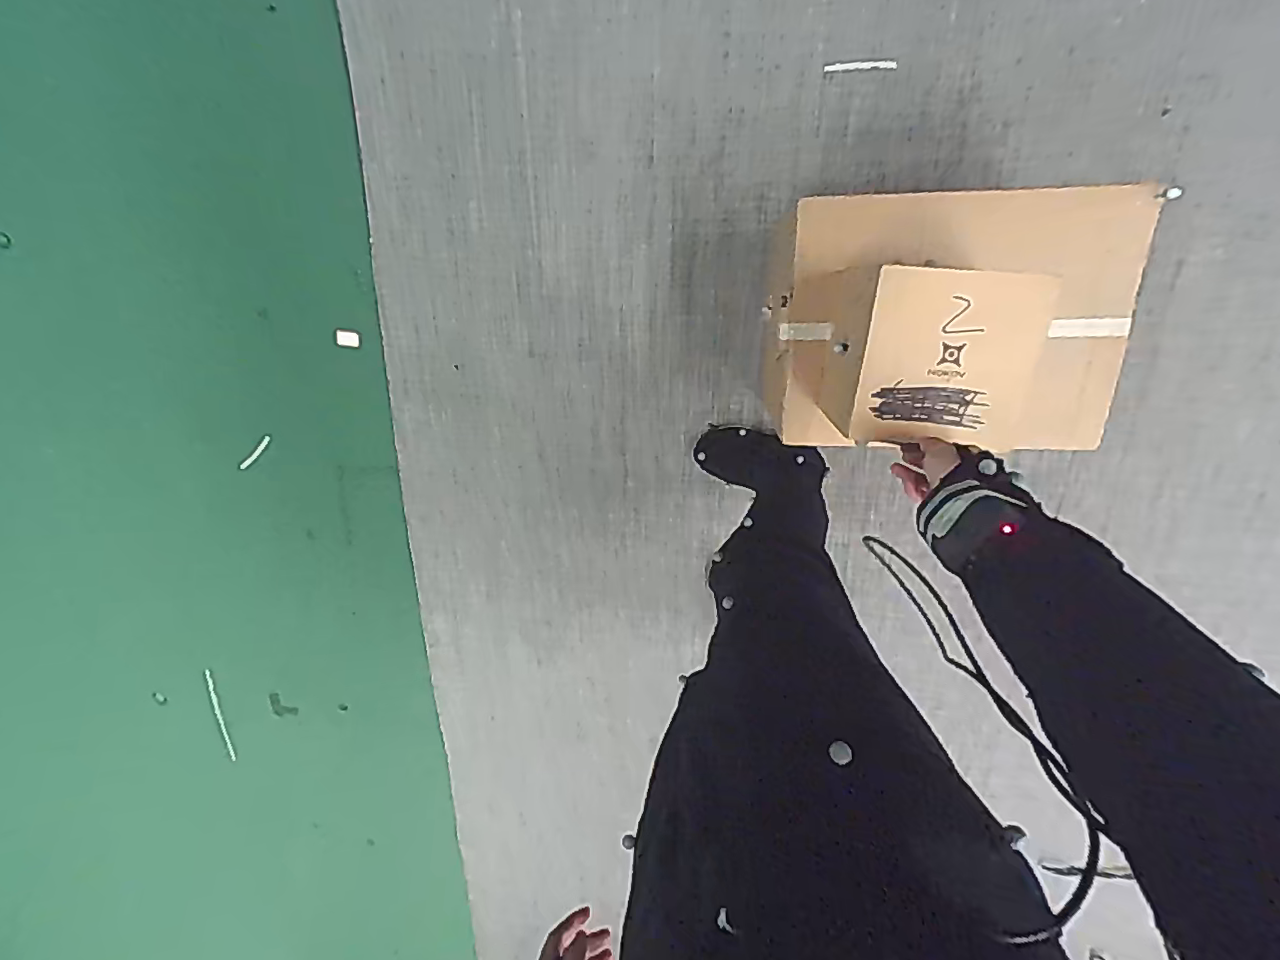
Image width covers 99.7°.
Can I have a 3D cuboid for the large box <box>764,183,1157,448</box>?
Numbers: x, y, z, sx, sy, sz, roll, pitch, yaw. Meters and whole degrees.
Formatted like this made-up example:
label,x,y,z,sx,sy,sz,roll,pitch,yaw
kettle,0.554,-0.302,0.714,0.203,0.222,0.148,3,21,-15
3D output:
label,x,y,z,sx,sy,sz,roll,pitch,yaw
large box,0.408,-0.237,0.818,0.408,0.320,0.320,1,110,7
